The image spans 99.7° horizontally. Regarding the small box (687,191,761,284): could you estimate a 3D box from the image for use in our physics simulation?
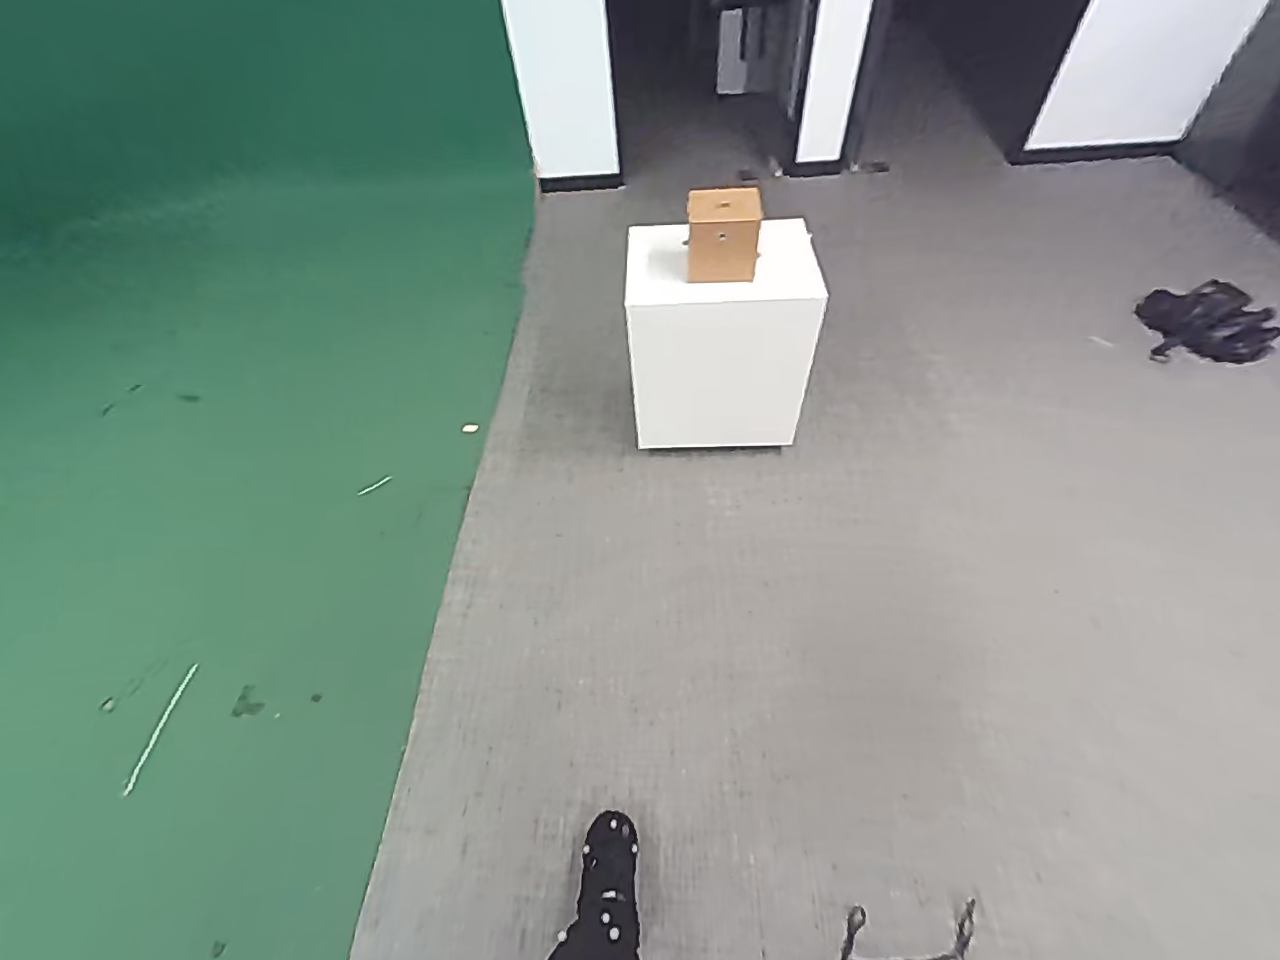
[{"bbox_3d":[0.212,-0.627,1.407,0.179,0.176,0.168,0,53,4],"label":"small box"}]
